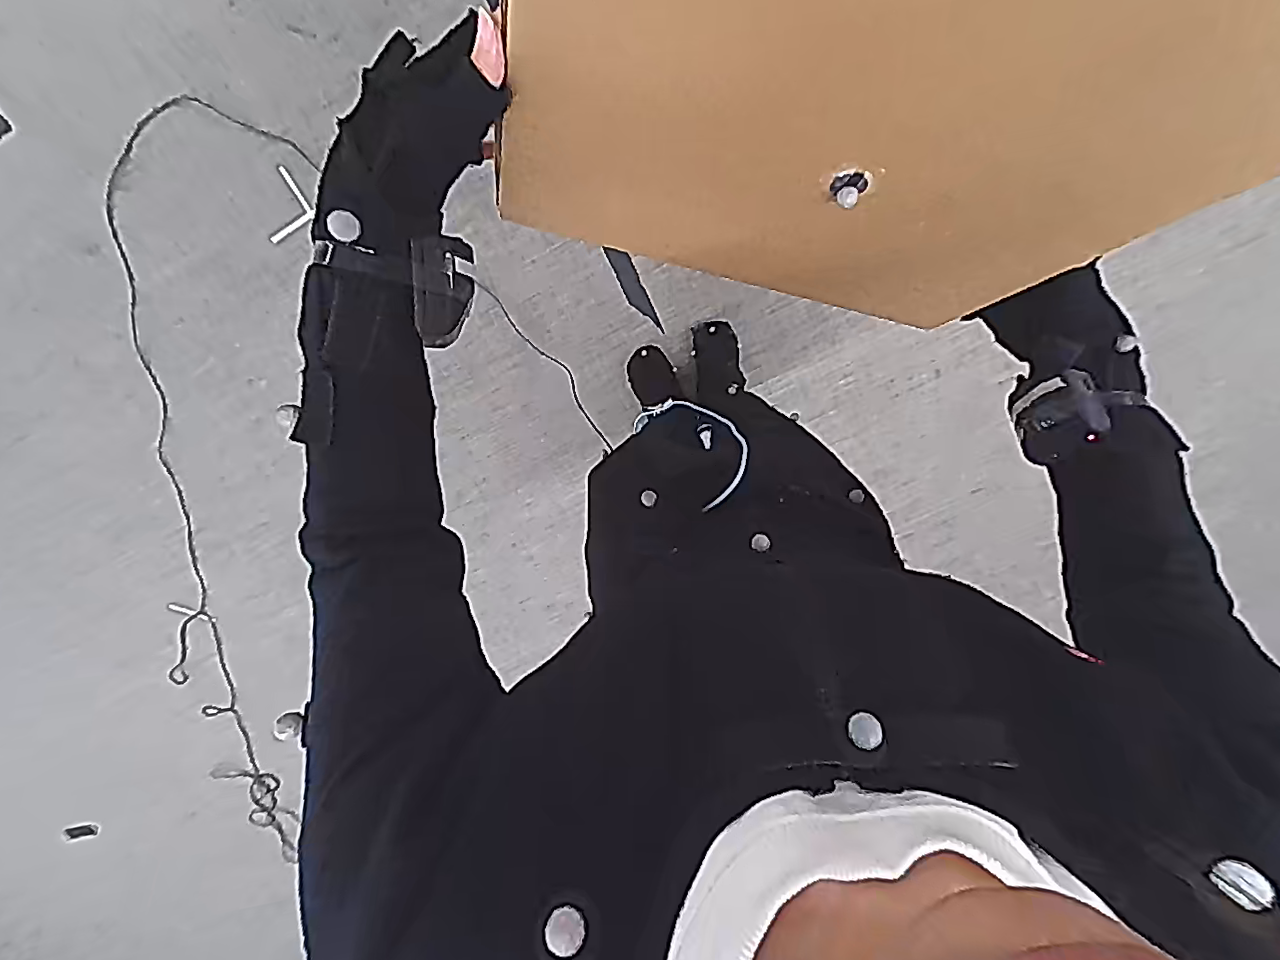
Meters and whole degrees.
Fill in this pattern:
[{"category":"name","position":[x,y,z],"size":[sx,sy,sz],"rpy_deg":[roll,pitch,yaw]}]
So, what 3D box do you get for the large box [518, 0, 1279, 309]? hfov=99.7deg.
[{"category":"large box","position":[0.143,-0.348,0.364],"size":[0.408,0.320,0.320],"rpy_deg":[7,81,-14]}]
